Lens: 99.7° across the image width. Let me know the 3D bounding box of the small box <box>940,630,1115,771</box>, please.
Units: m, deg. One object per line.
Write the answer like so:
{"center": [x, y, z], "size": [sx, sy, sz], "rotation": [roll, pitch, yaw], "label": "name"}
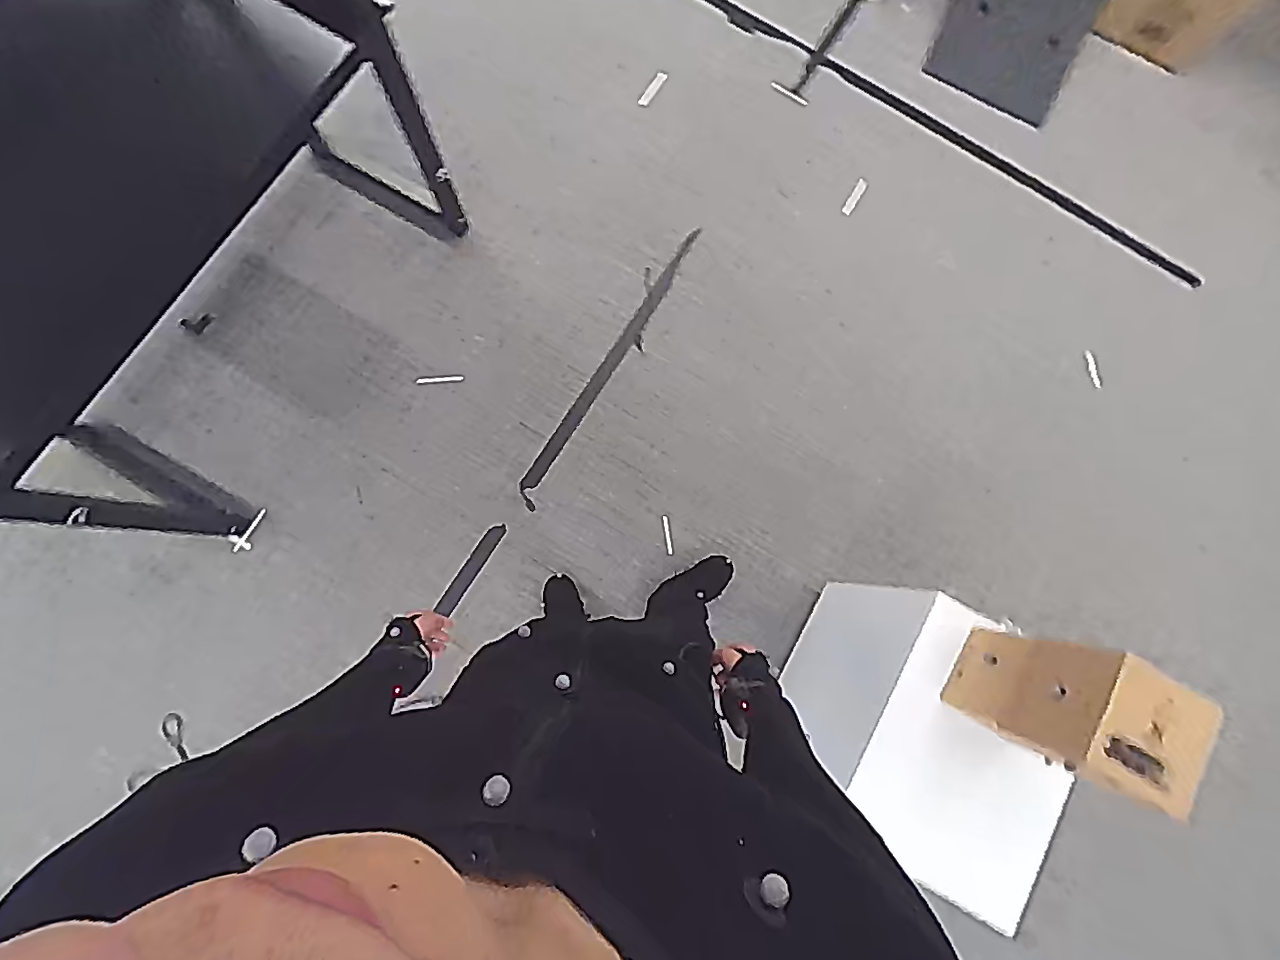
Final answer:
{"center": [0.709, 0.396, 1.010], "size": [0.179, 0.176, 0.168], "rotation": [32, 81, 0], "label": "small box"}
